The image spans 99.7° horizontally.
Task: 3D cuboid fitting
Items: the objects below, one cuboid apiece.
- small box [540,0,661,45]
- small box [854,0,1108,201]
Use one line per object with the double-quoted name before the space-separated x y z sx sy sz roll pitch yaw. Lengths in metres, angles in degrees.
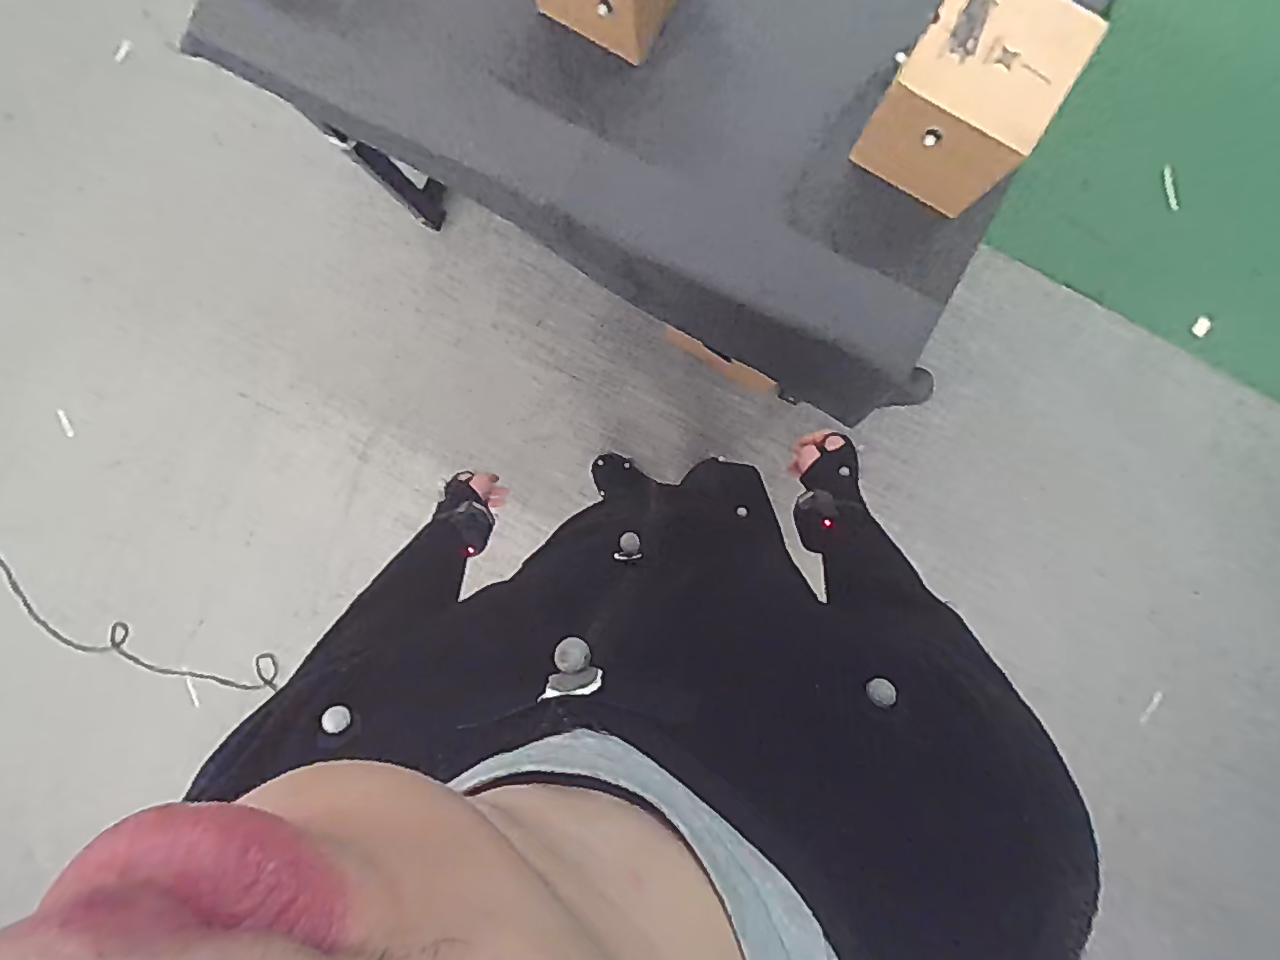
"small box" -0.043 -0.717 0.692 0.179 0.176 0.168 30 93 2
"small box" 0.403 -0.491 0.679 0.179 0.176 0.168 31 95 0
